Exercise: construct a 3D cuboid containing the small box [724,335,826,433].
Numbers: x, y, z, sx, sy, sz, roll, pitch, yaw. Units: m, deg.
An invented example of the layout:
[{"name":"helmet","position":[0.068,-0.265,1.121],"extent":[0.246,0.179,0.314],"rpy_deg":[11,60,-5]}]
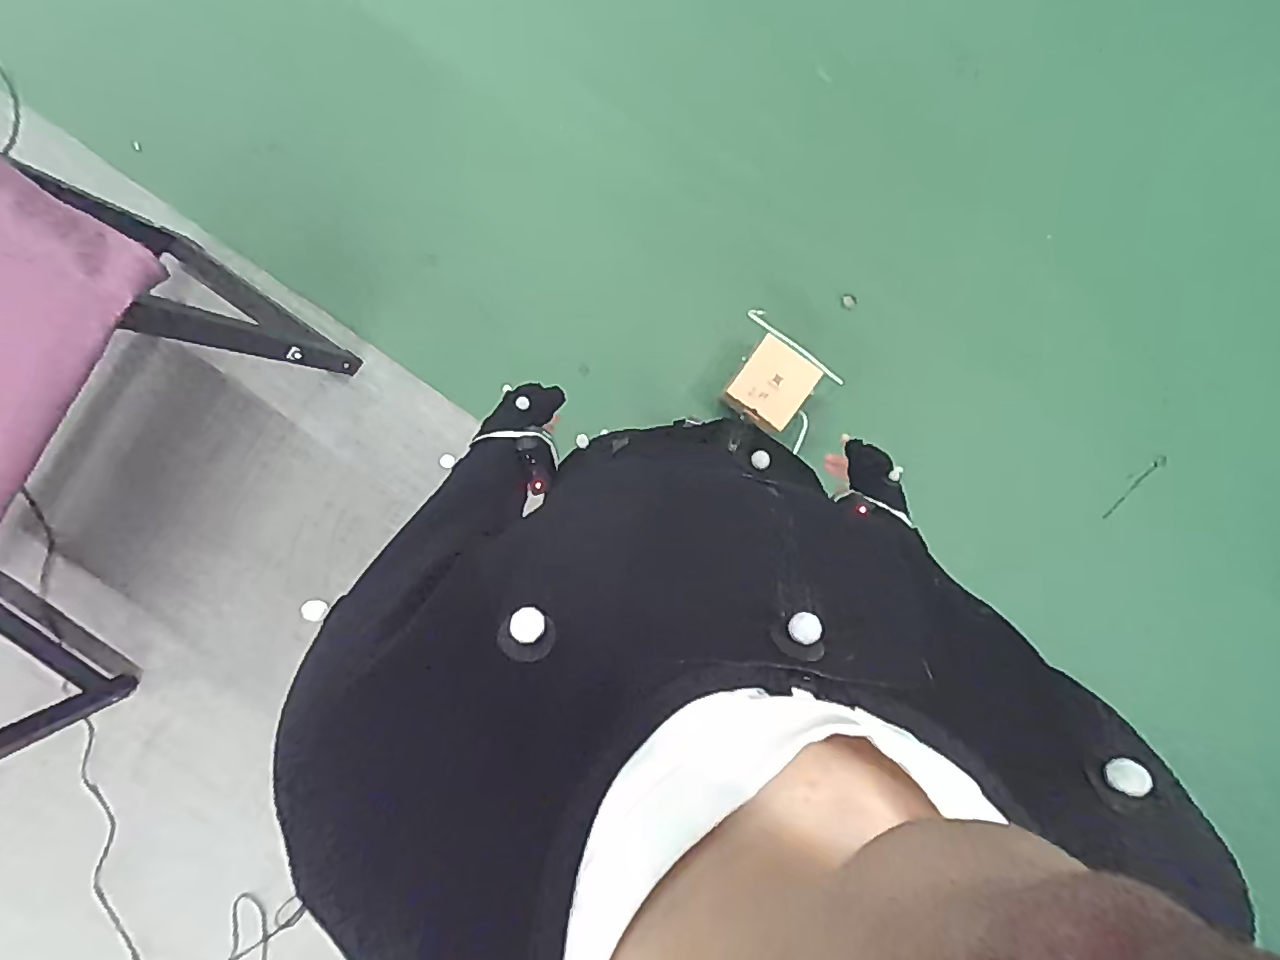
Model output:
[{"name":"small box","position":[0.329,-0.234,1.360],"extent":[0.168,0.176,0.179],"rpy_deg":[36,94,-1]}]
